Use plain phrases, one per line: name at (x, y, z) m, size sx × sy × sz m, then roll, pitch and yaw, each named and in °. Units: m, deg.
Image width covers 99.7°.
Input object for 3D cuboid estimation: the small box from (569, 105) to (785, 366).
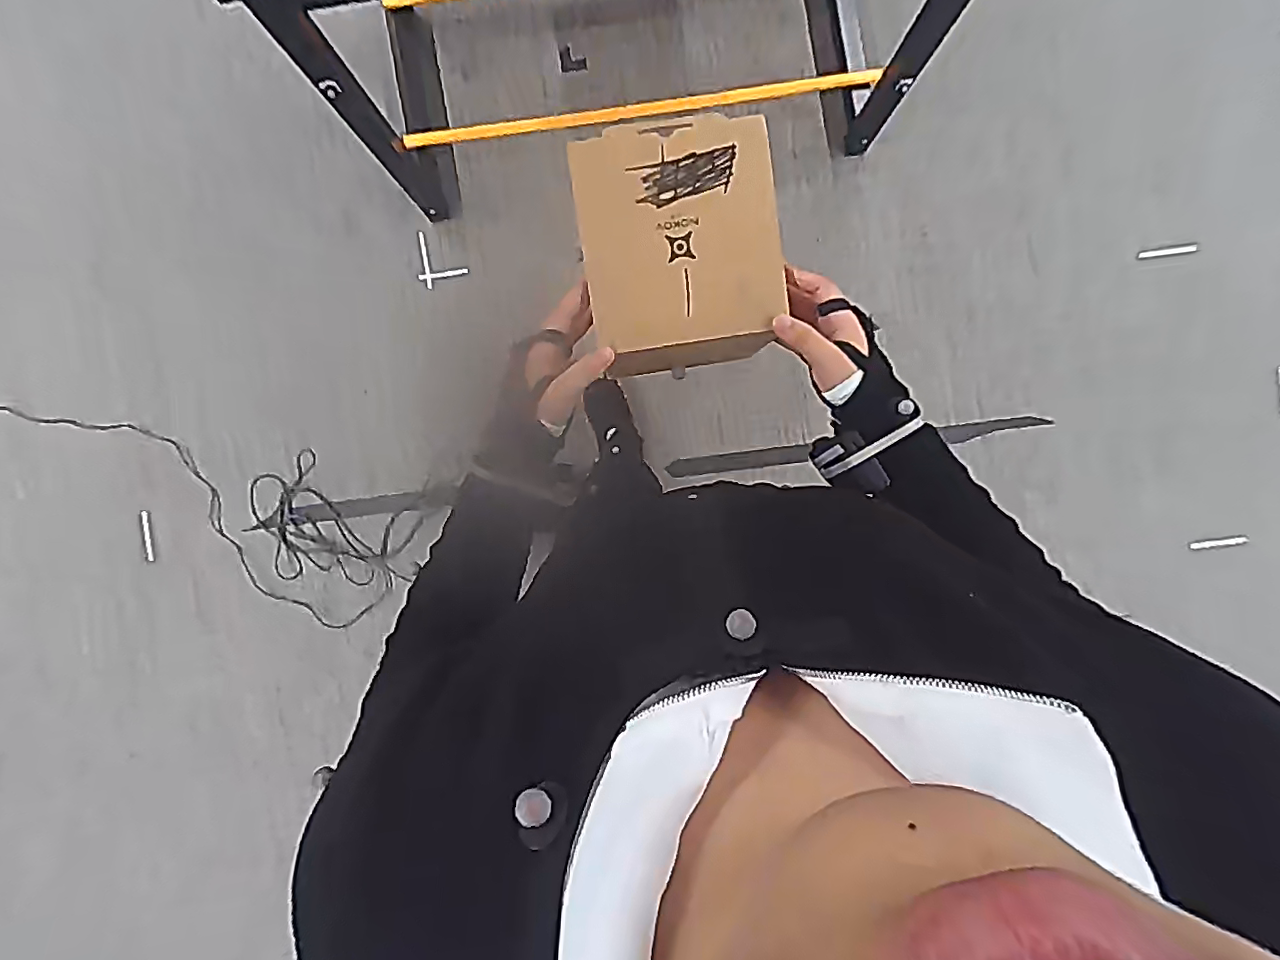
small box at (0.030, -0.220, 0.532) m, size 0.168 × 0.176 × 0.179 m, roll -9°, pitch 95°, yaw 0°
